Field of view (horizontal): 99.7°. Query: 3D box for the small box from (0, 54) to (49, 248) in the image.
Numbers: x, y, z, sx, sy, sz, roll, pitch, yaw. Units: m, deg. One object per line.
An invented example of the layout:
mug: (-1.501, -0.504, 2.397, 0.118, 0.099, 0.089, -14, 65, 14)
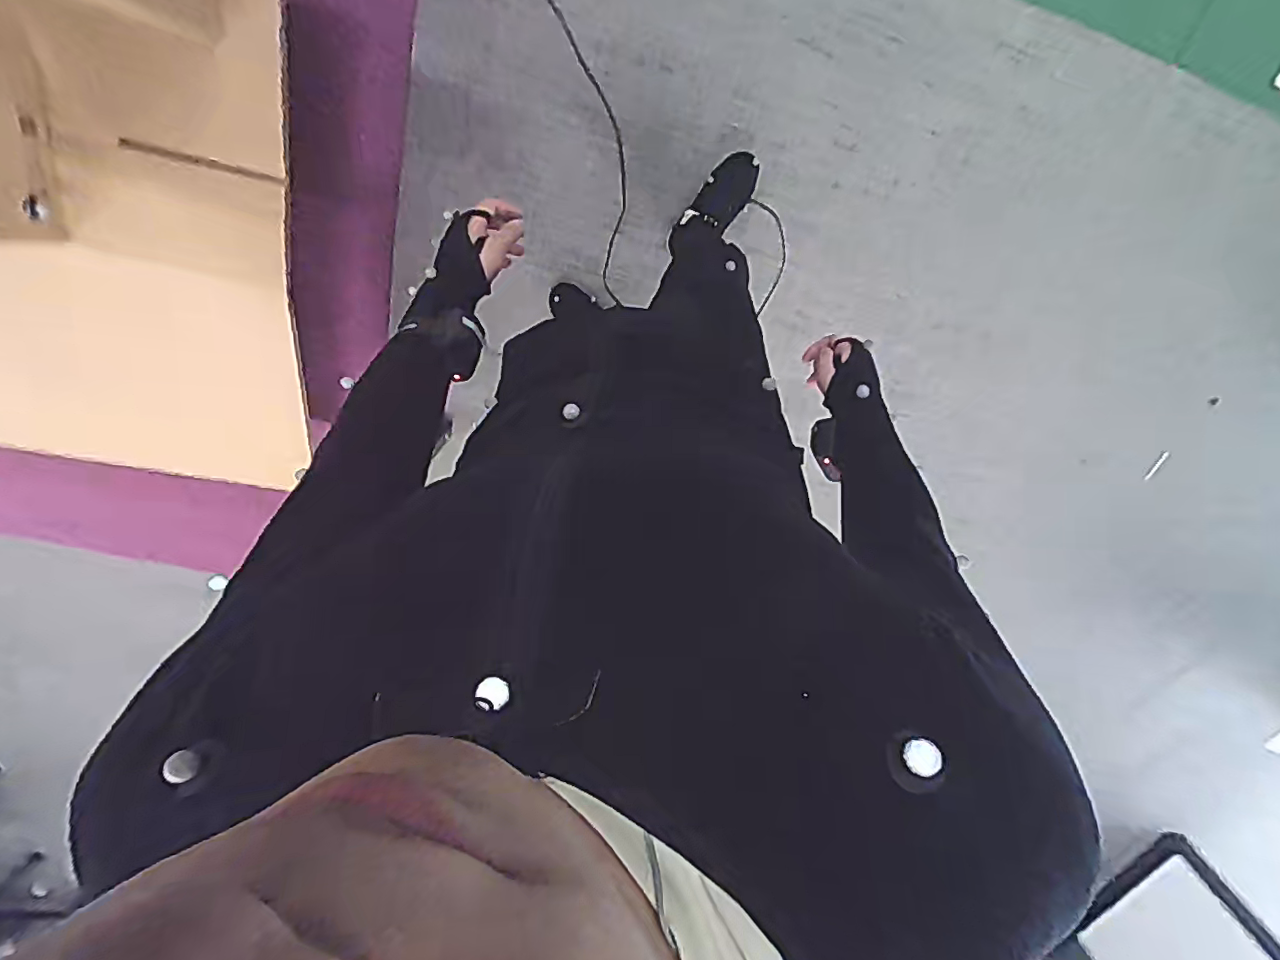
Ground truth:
small box: (-0.656, -0.294, 0.445, 0.179, 0.176, 0.168, 10, 112, -7)
